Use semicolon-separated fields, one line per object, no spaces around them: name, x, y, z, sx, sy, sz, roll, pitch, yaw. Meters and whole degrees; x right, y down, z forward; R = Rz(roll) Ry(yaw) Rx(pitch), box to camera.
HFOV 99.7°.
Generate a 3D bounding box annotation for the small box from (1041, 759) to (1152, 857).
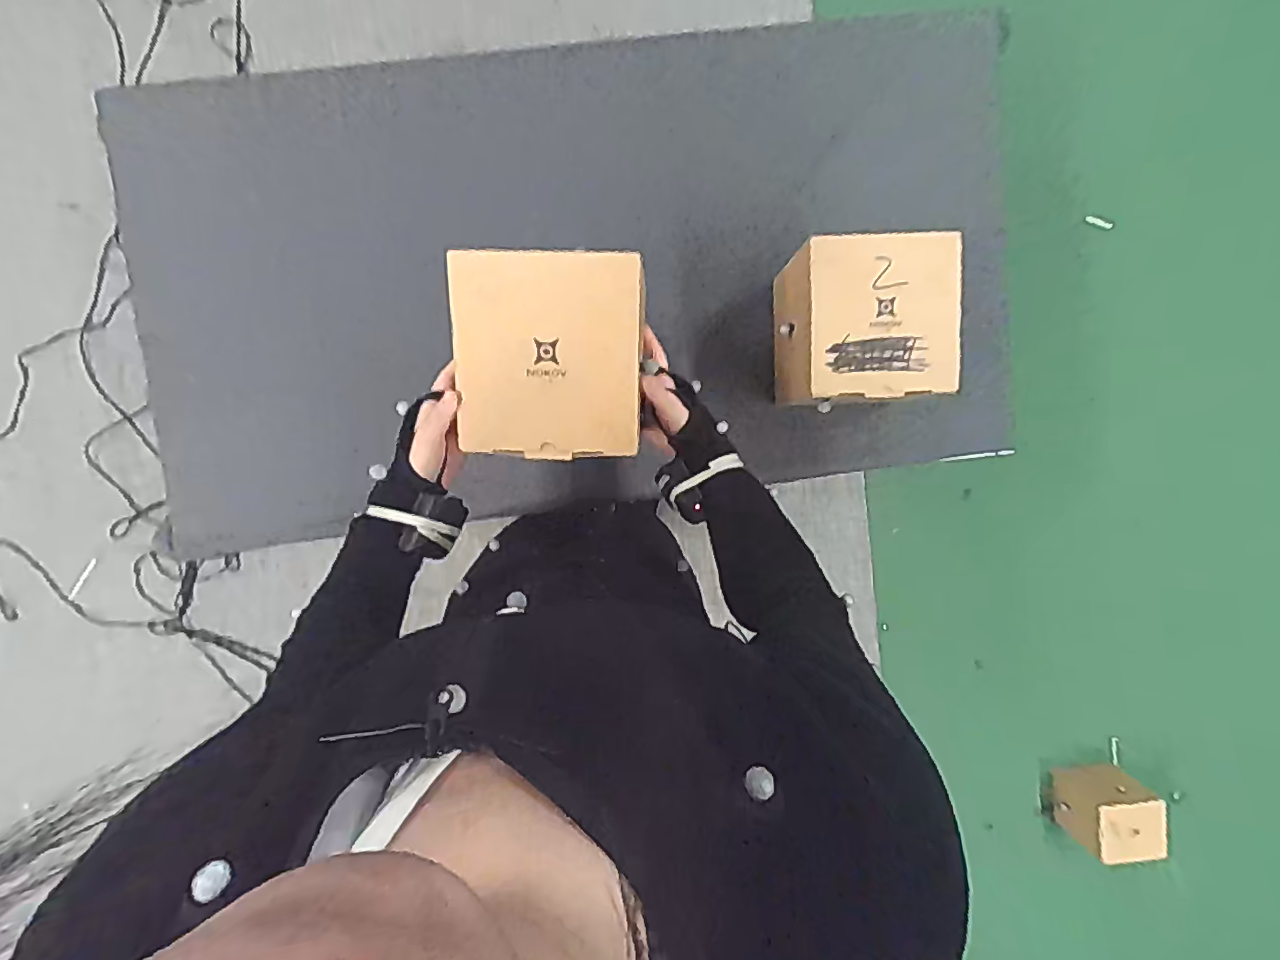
small box;1.280;0.915;1.524;0.179;0.176;0.168;-7;95;-1
